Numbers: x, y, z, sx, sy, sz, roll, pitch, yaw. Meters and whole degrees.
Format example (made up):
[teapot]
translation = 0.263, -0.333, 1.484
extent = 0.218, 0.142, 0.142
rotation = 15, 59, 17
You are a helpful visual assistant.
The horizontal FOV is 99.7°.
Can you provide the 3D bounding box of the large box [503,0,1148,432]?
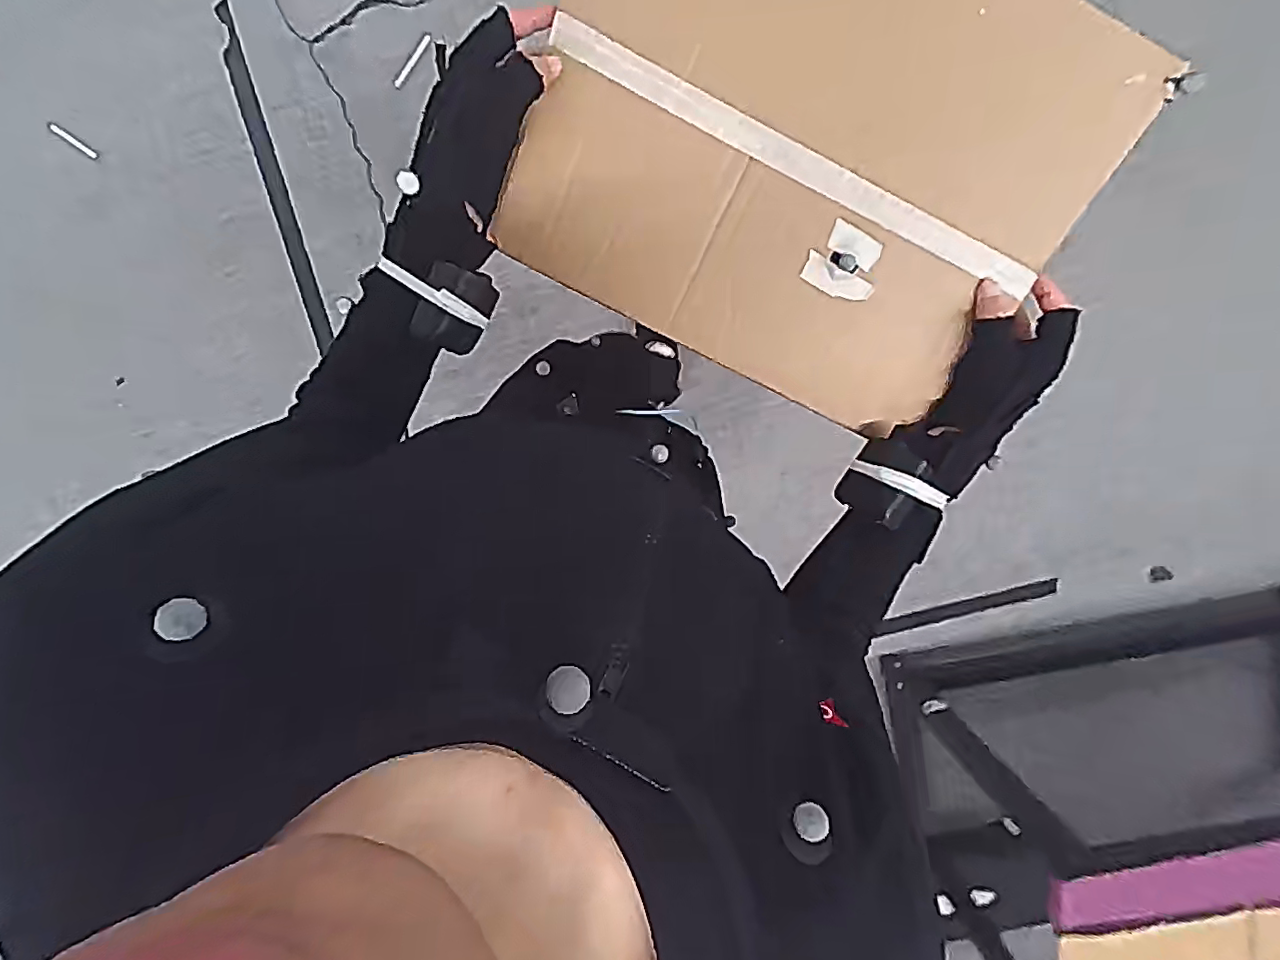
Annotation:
[large box]
translation = 0.132, -0.304, 0.559
extent = 0.408, 0.320, 0.320
rotation = 25, 113, -6
